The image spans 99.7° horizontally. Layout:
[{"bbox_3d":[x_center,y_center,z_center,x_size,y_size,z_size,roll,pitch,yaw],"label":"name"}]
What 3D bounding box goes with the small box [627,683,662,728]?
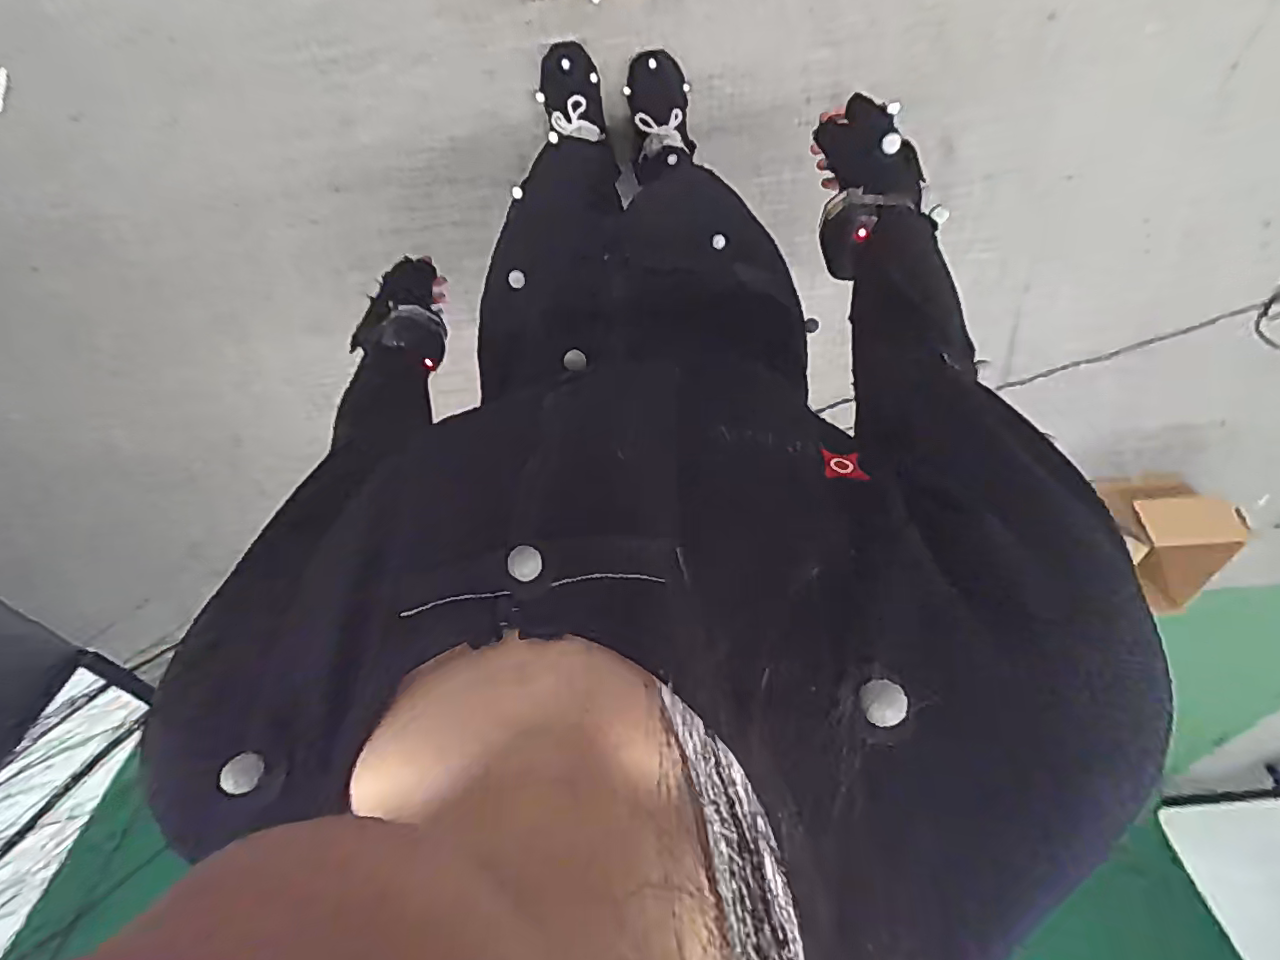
[{"bbox_3d":[0.024,1.195,2.870,0.179,0.176,0.168,-6,134,2],"label":"small box"}]
